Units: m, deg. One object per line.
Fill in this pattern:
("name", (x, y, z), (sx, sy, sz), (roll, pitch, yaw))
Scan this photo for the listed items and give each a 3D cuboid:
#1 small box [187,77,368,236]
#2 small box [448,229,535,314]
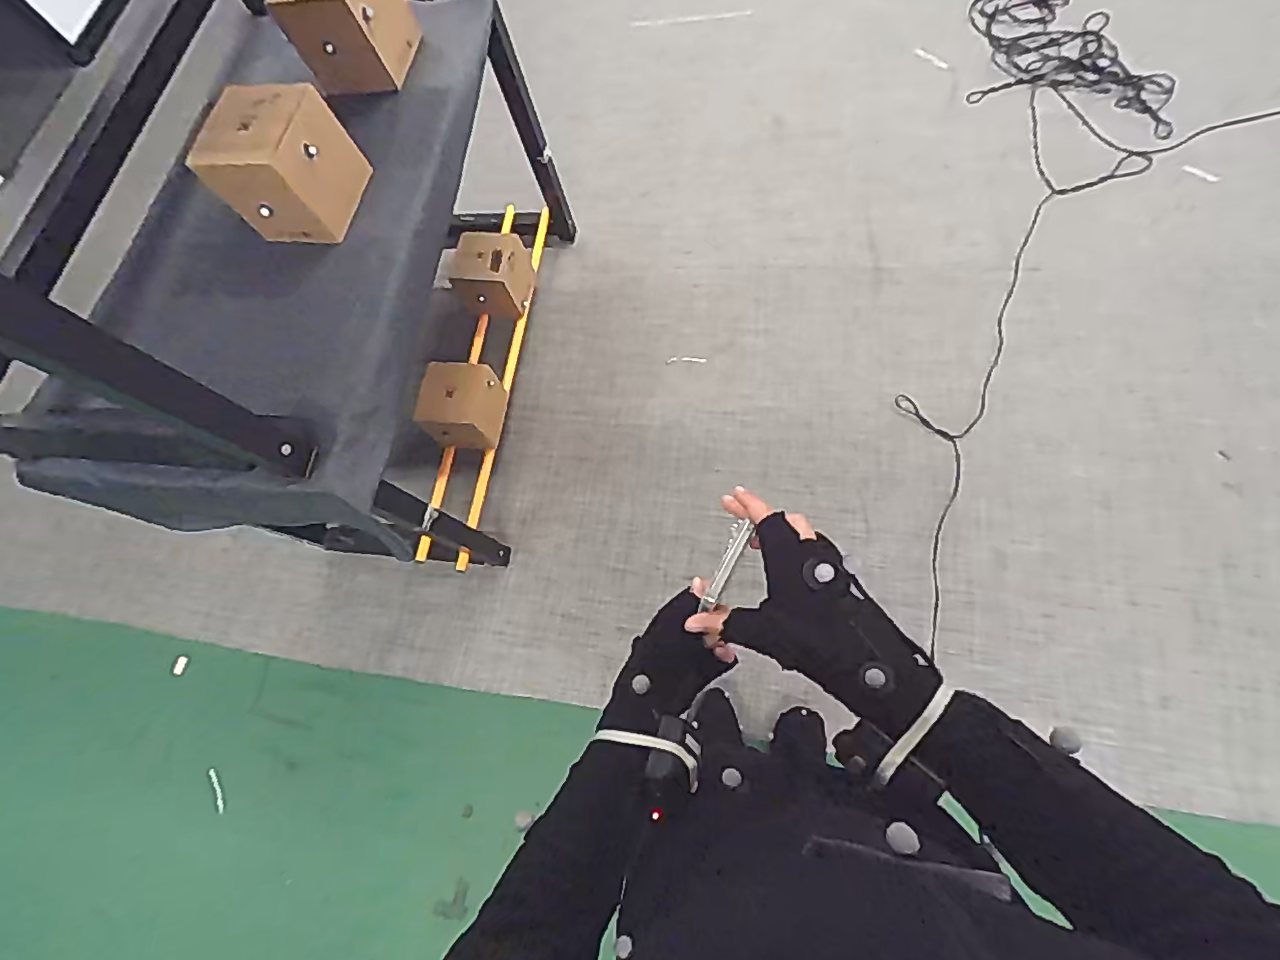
("small box", (-0.607, -0.546, 0.930), (0.168, 0.176, 0.179), (7, 72, 12))
("small box", (-0.427, -0.609, 1.591), (0.179, 0.176, 0.168), (7, 72, 12))
